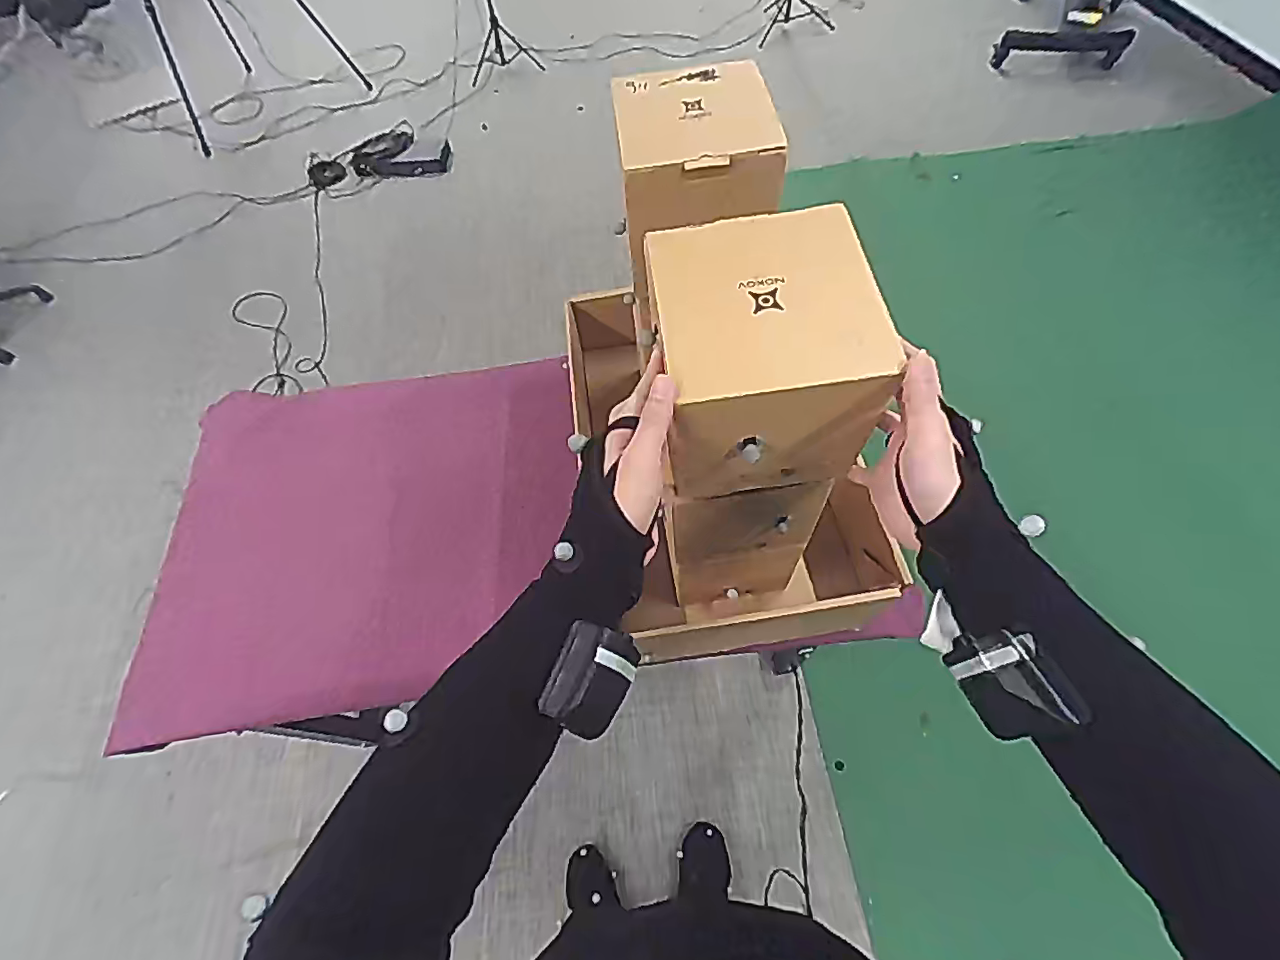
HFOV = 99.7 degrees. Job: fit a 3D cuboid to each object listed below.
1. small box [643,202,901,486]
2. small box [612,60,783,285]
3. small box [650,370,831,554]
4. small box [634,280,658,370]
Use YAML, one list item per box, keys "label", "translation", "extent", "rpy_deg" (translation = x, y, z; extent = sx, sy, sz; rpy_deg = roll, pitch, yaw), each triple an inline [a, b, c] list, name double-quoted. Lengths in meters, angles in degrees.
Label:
- label: "small box"
  translation: [0.100, -0.105, 0.480]
  extent: [0.168, 0.176, 0.179]
  rpy_deg: [-8, 63, 2]
- label: "small box"
  translation: [0.062, -0.348, 0.641]
  extent: [0.168, 0.176, 0.179]
  rpy_deg: [-6, 62, 1]
- label: "small box"
  translation: [0.108, -0.023, 0.641]
  extent: [0.168, 0.176, 0.179]
  rpy_deg: [-8, 59, 1]
- label: "small box"
  translation: [0.076, -0.271, 0.785]
  extent: [0.168, 0.176, 0.179]
  rpy_deg: [-7, 61, 1]
